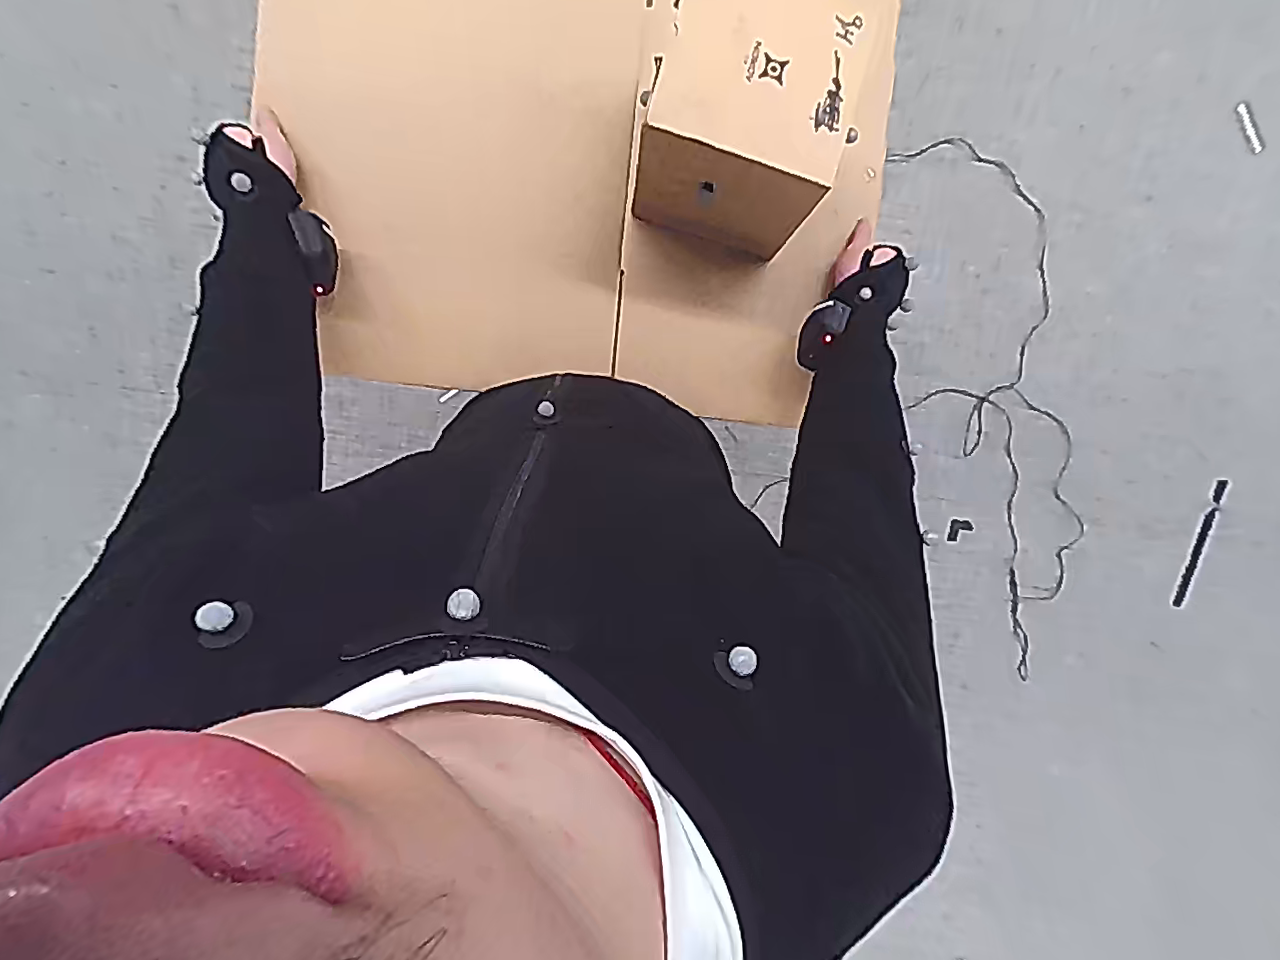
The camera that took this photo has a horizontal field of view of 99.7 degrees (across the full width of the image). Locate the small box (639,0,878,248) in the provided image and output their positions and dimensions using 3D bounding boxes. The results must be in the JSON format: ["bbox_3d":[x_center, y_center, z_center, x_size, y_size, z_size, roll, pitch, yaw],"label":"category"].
[{"bbox_3d":[0.102,-0.364,0.553,0.179,0.176,0.168,16,91,-4],"label":"small box"}]
